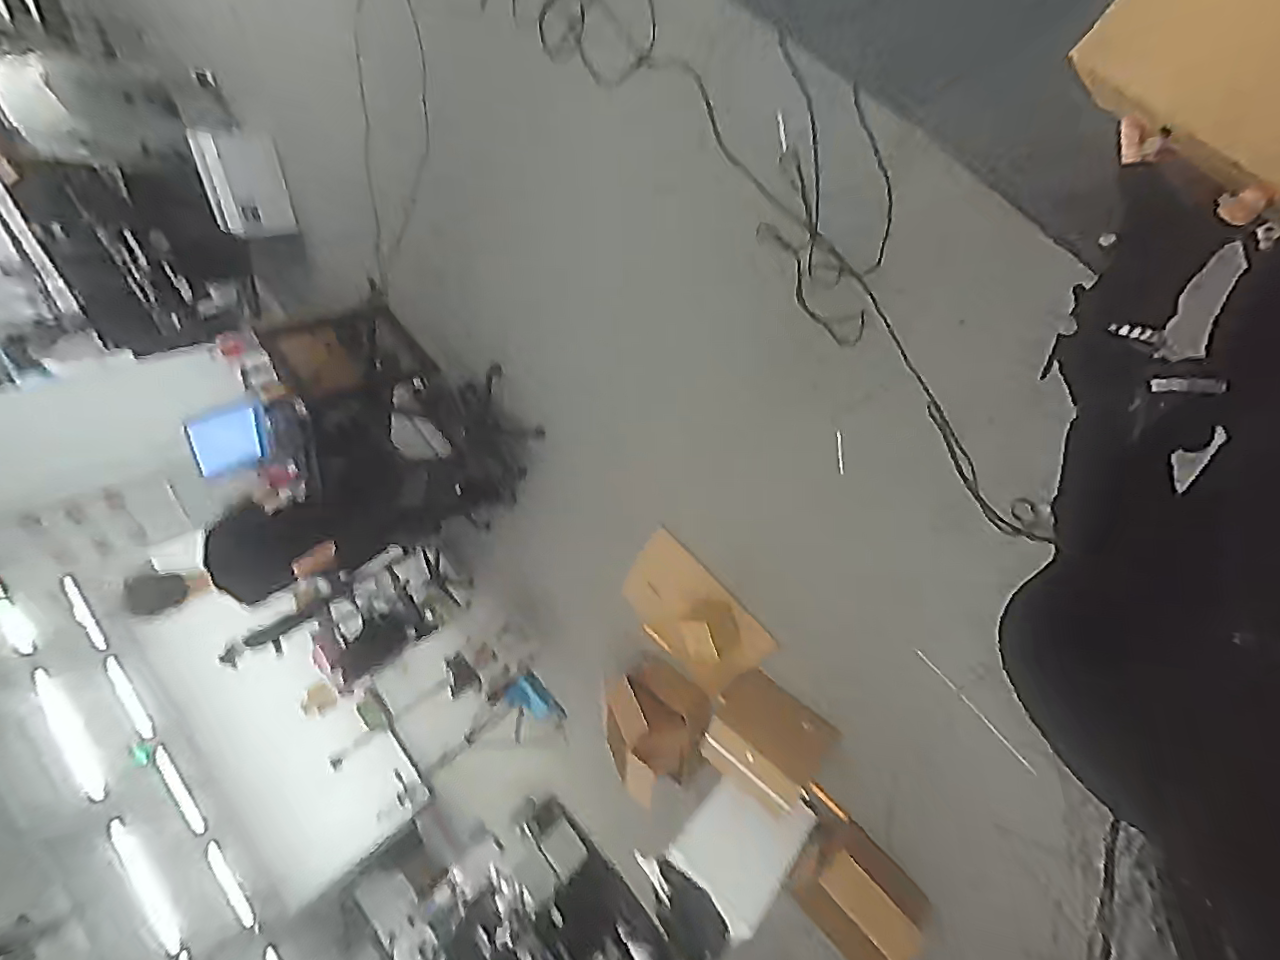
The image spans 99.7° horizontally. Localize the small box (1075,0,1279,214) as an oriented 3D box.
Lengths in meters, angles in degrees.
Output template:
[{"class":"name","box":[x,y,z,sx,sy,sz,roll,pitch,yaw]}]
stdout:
[{"class":"small box","box":[0.427,-0.289,0.337,0.179,0.176,0.168,54,136,17]}]
